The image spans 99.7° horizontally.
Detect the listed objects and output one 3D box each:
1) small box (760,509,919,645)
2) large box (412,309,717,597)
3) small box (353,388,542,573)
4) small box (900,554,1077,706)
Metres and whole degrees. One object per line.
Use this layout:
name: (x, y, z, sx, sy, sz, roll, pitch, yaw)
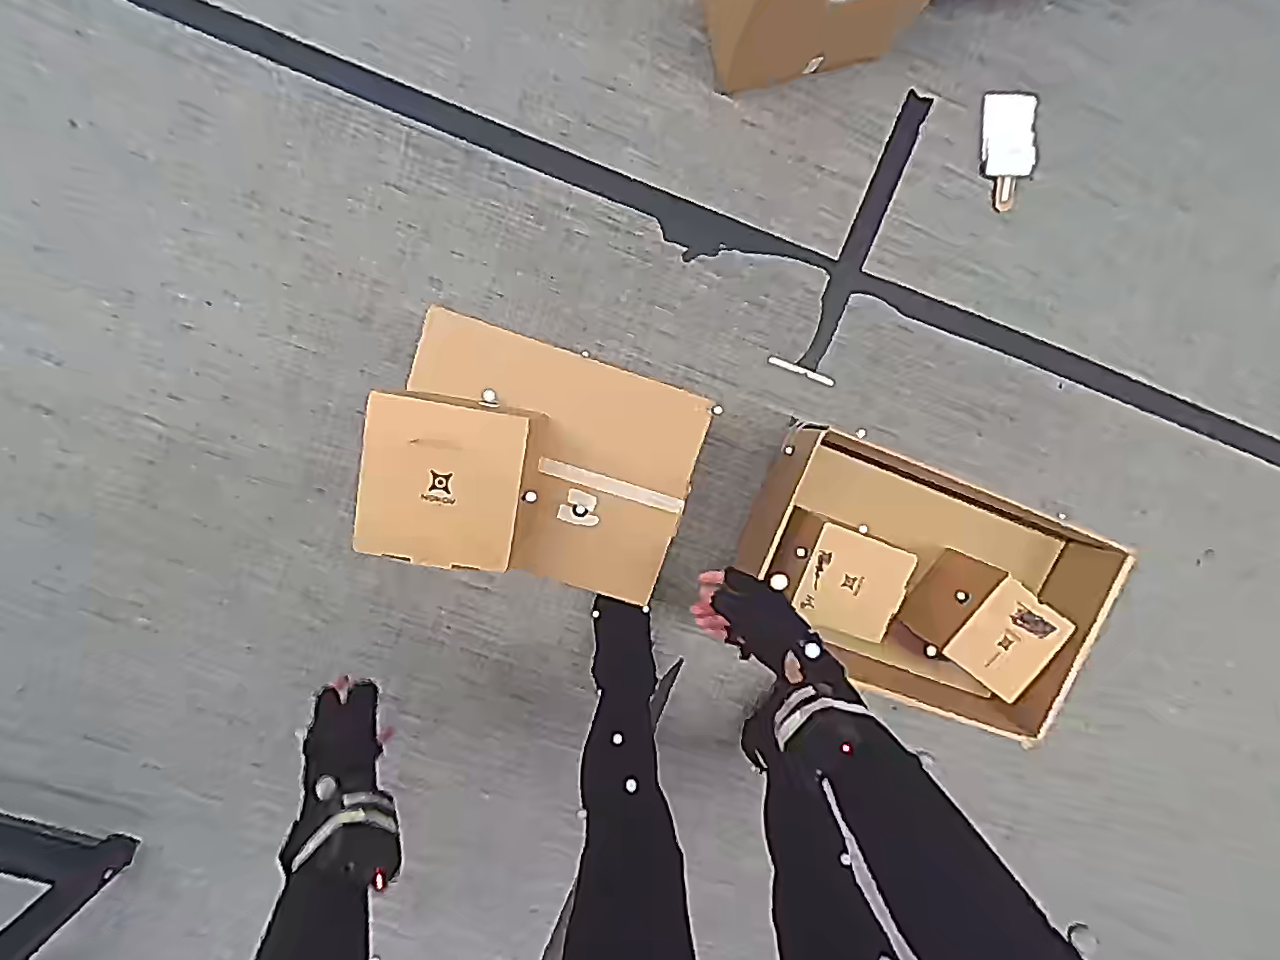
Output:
small box: (0.342, 0.161, 0.959, 0.179, 0.176, 0.168, 21, 95, -8)
large box: (-0.137, -0.049, 0.889, 0.408, 0.320, 0.320, 17, 98, -6)
small box: (-0.215, -0.008, 0.644, 0.168, 0.176, 0.179, 9, 97, -6)
small box: (0.622, 0.262, 0.990, 0.168, 0.176, 0.179, 37, 95, -6)
